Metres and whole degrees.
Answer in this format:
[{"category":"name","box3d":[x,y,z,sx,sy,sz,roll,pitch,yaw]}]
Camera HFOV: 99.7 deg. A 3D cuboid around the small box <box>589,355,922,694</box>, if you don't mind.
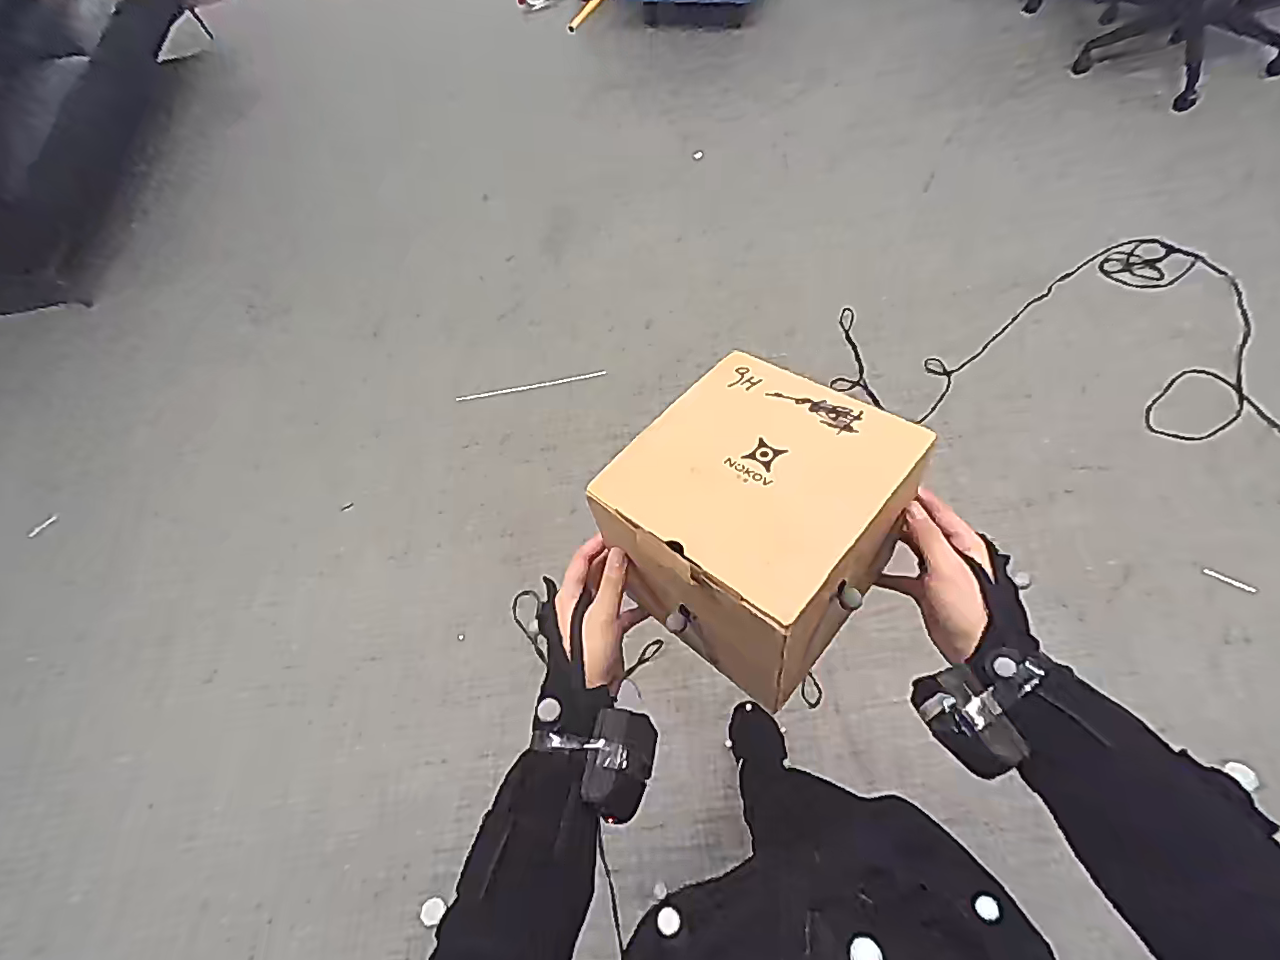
[{"category":"small box","box3d":[0.091,0.038,0.436,0.168,0.176,0.179,33,65,31]}]
